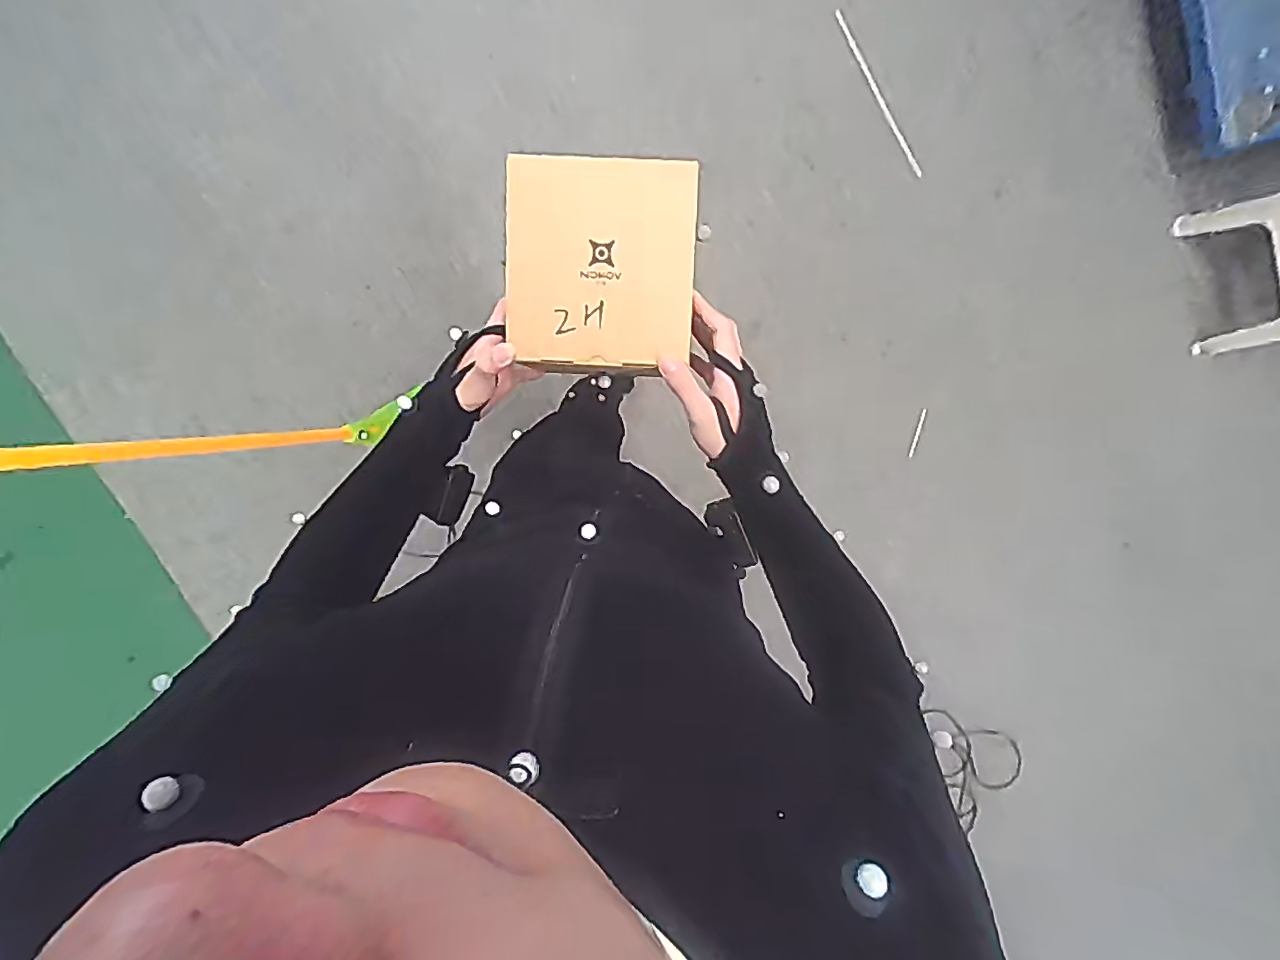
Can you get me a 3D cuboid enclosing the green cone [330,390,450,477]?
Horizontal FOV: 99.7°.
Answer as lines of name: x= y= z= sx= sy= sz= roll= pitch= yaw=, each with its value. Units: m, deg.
green cone: x=-0.682 y=-0.108 z=1.396 sx=0.200 sy=0.368 sz=0.202 roll=-28 pitch=97 yaw=6
